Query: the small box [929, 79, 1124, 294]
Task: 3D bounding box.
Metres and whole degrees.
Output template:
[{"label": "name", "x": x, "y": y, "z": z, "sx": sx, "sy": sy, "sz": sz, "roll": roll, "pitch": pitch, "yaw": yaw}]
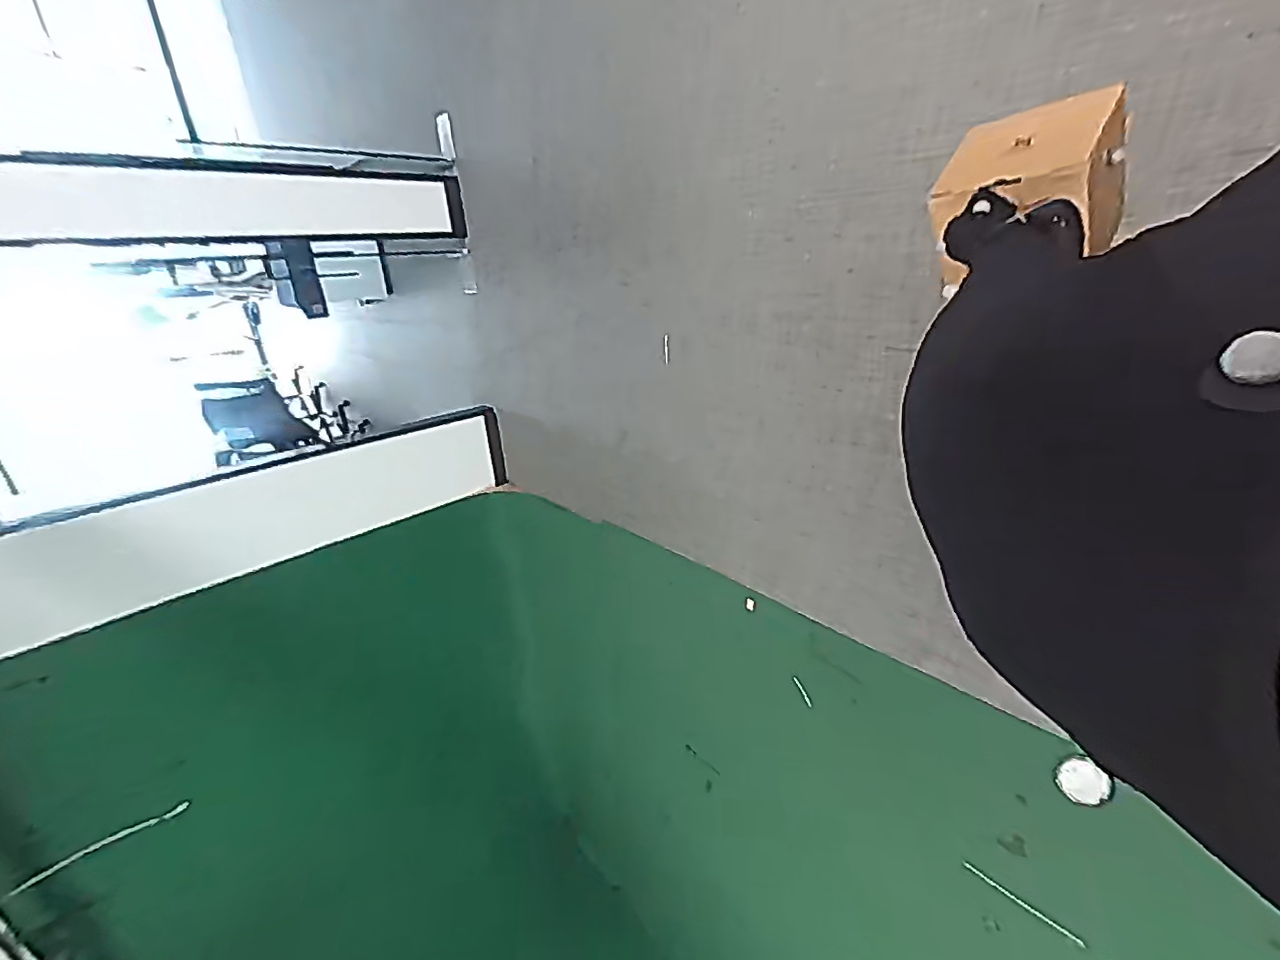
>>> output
[{"label": "small box", "x": 0.514, "y": -0.375, "z": 0.720, "sx": 0.168, "sy": 0.179, "sz": 0.176, "roll": 12, "pitch": 151, "yaw": 47}]
